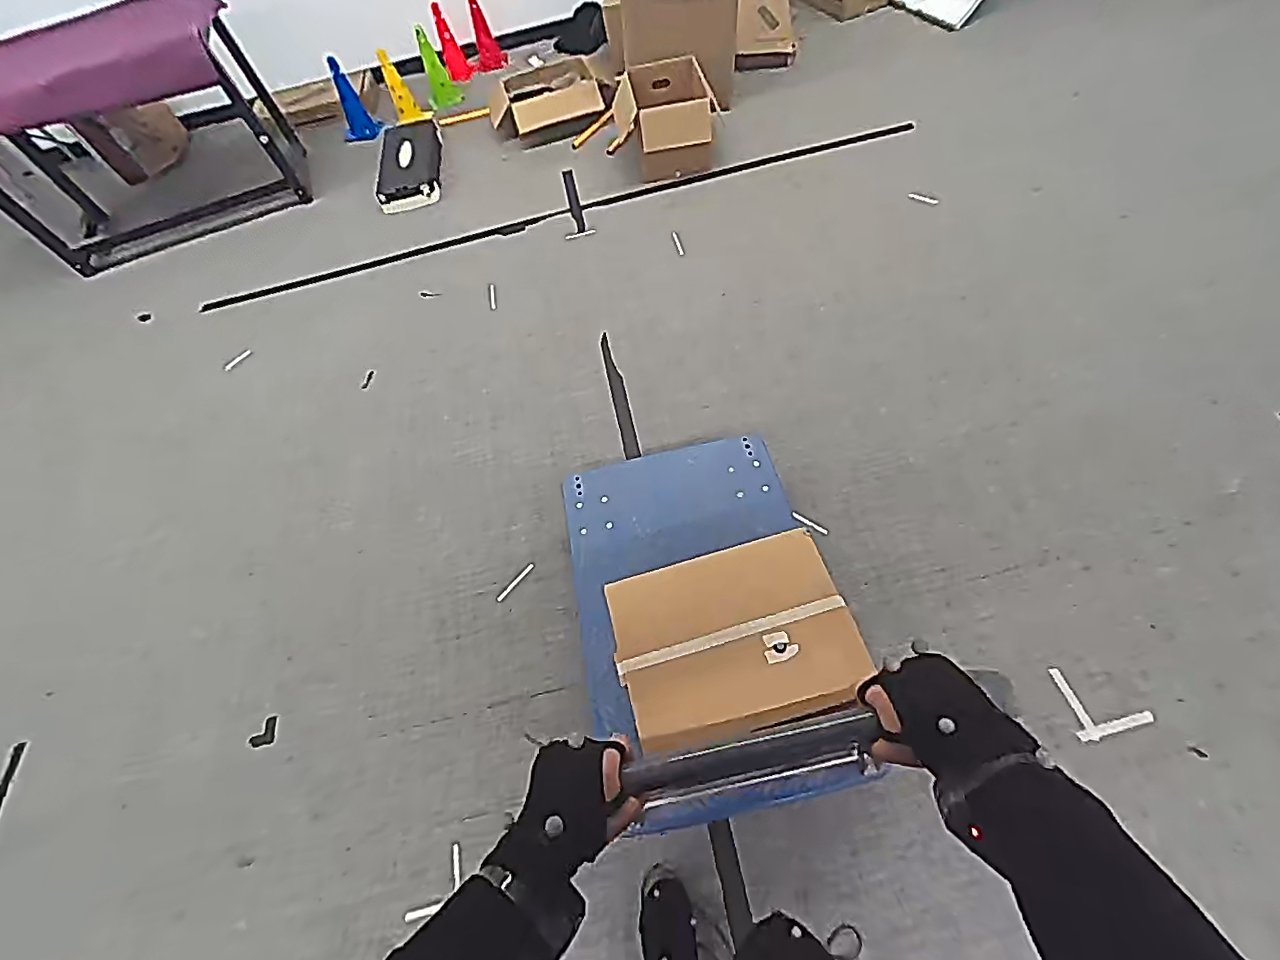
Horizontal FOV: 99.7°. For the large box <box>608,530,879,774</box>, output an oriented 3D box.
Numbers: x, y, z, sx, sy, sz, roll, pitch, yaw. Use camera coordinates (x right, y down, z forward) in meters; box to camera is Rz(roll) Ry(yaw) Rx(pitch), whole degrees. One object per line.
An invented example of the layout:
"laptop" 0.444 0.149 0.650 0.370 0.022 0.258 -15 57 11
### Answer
"large box" 0.183 0.354 1.084 0.408 0.320 0.320 -16 58 -3
